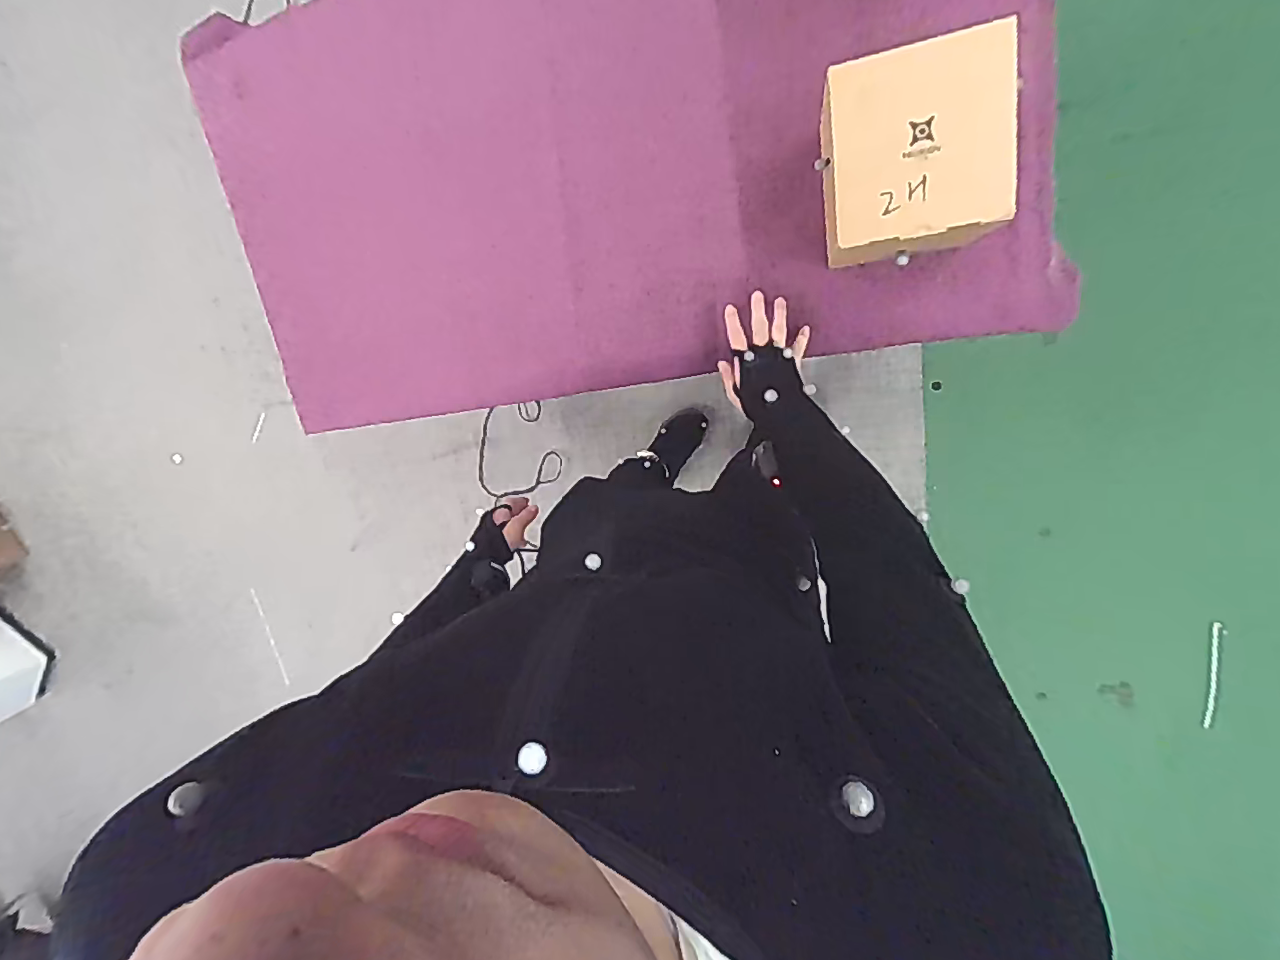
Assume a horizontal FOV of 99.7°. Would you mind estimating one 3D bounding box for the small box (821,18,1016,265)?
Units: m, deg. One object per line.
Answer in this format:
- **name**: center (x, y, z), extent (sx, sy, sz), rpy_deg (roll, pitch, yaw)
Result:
- **small box**: center (0.297, -0.356, 0.610), extent (0.168, 0.176, 0.179), rpy_deg (-4, 104, 17)
